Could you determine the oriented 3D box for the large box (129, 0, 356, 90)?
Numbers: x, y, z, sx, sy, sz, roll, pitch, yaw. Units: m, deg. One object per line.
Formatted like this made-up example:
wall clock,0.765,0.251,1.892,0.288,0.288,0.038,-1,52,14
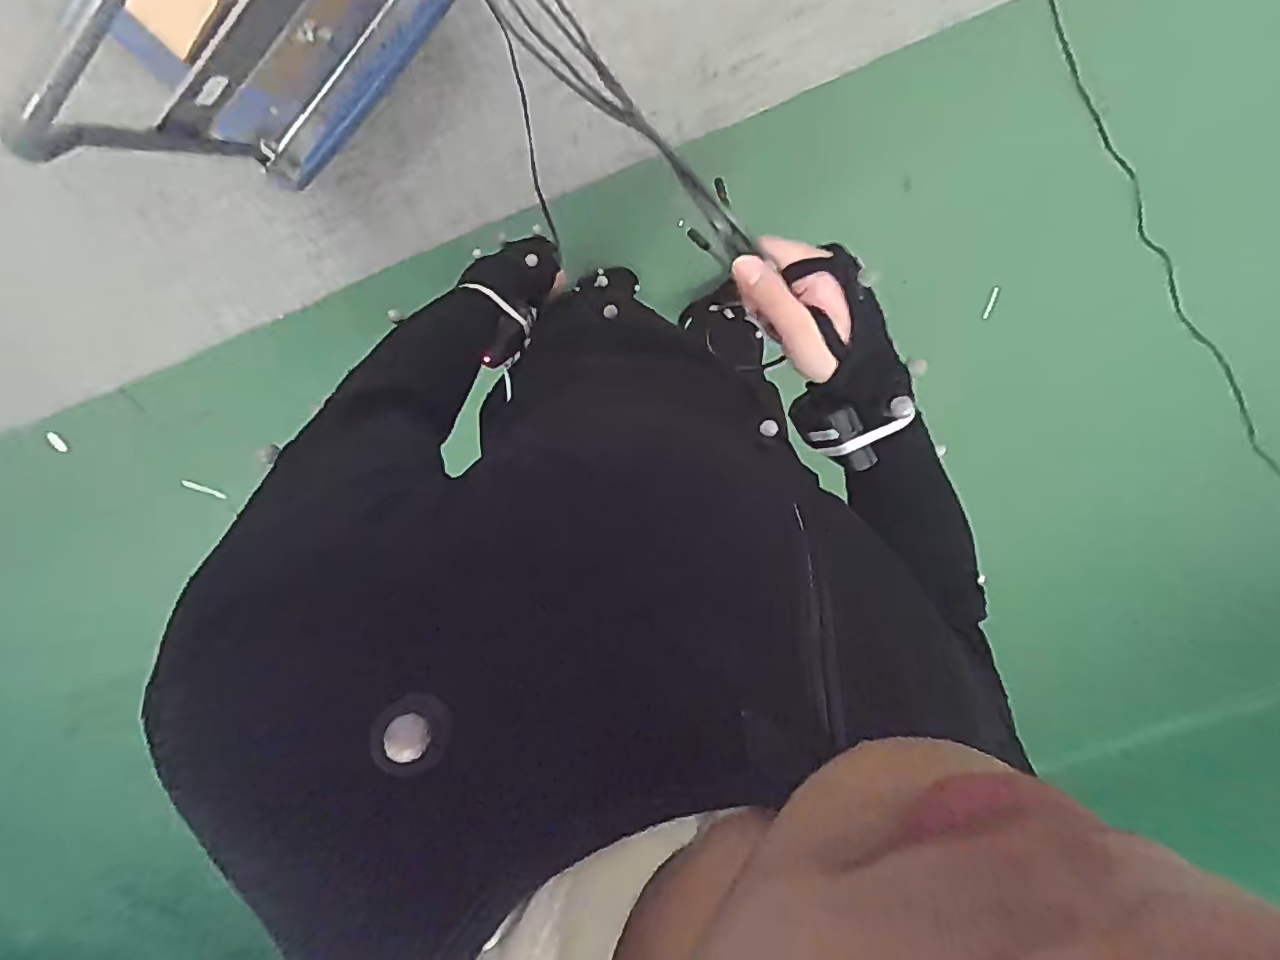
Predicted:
large box,-0.700,-0.916,0.824,0.320,0.320,0.408,-40,112,14
